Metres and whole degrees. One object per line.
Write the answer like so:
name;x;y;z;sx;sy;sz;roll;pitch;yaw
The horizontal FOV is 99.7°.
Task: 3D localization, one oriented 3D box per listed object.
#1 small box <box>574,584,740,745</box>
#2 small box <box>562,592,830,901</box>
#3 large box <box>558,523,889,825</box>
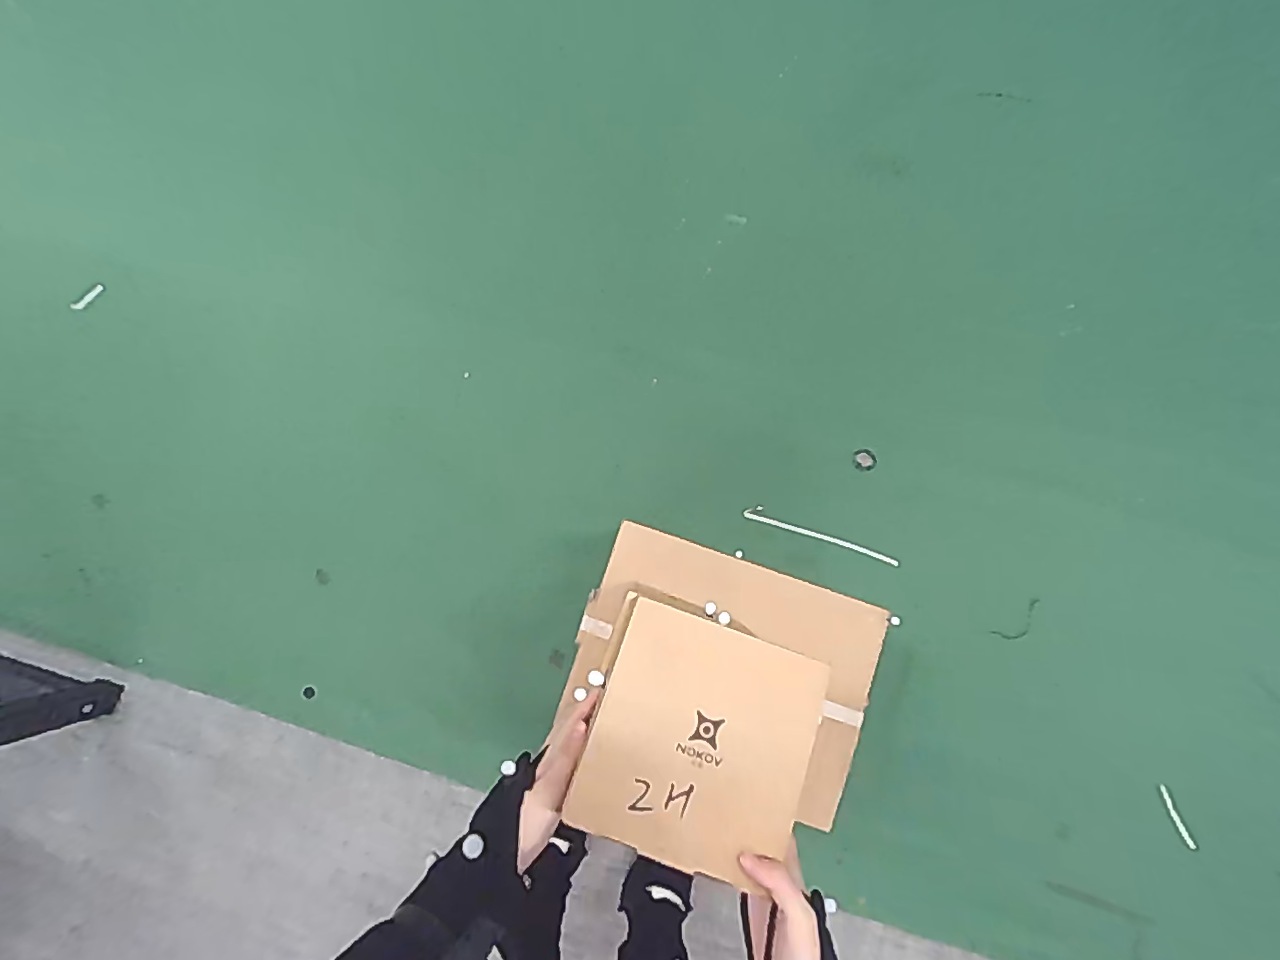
small box;0.033;0.237;0.659;0.168;0.176;0.179;20;85;3
small box;0.042;0.212;0.482;0.168;0.176;0.179;19;76;3
large box;0.117;0.281;0.897;0.408;0.320;0.320;18;84;3
